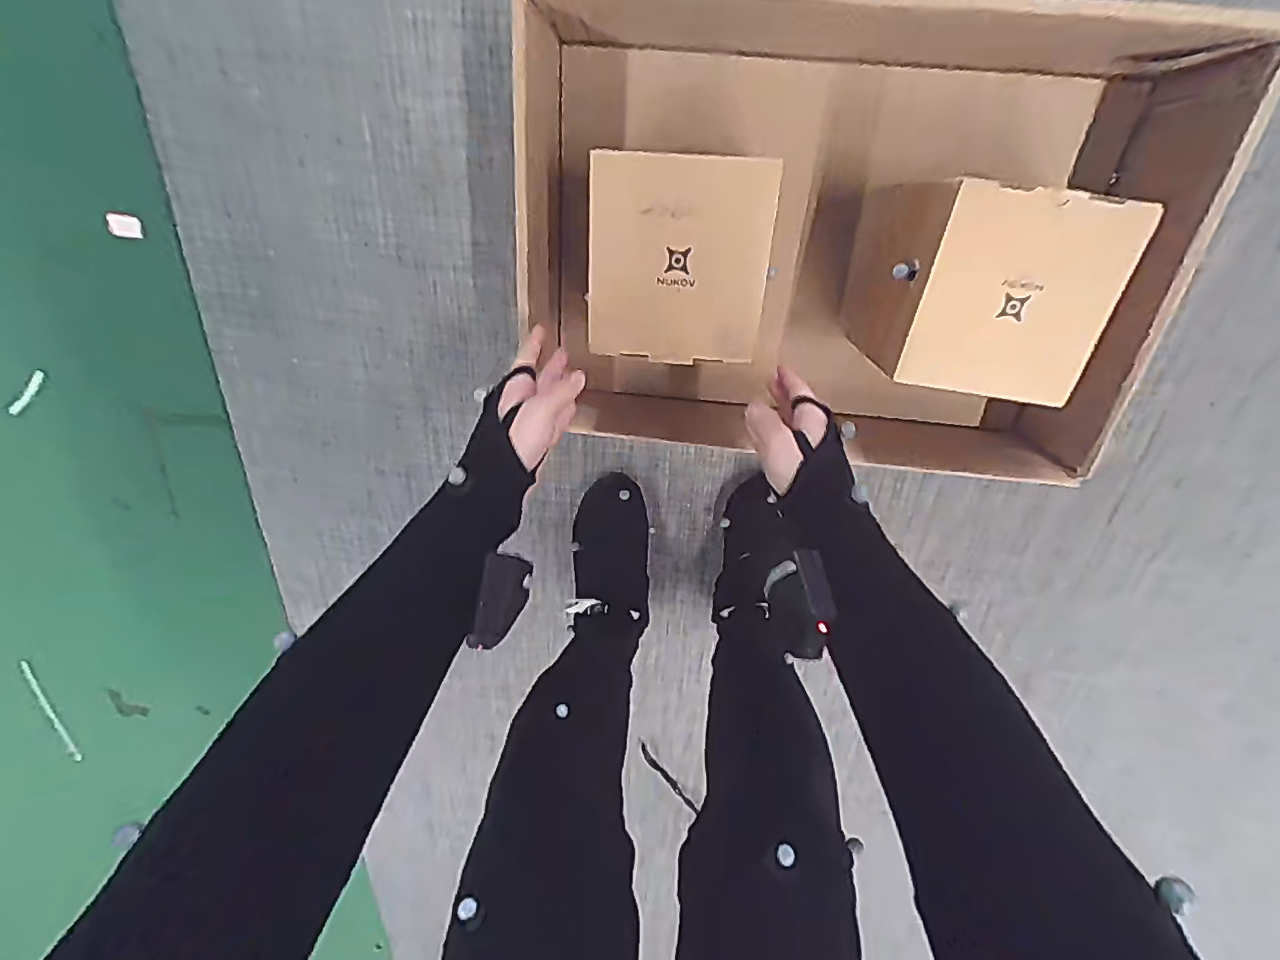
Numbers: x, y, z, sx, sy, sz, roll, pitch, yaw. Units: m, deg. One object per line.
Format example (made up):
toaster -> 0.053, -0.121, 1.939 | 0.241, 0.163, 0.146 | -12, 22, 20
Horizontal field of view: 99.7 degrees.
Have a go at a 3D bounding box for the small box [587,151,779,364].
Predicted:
small box -> 0.040, -0.233, 0.570 | 0.168, 0.176, 0.179 | 5, 115, 3

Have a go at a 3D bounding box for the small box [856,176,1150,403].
small box -> 0.339, -0.197, 0.554 | 0.168, 0.176, 0.179 | 9, 116, 3
